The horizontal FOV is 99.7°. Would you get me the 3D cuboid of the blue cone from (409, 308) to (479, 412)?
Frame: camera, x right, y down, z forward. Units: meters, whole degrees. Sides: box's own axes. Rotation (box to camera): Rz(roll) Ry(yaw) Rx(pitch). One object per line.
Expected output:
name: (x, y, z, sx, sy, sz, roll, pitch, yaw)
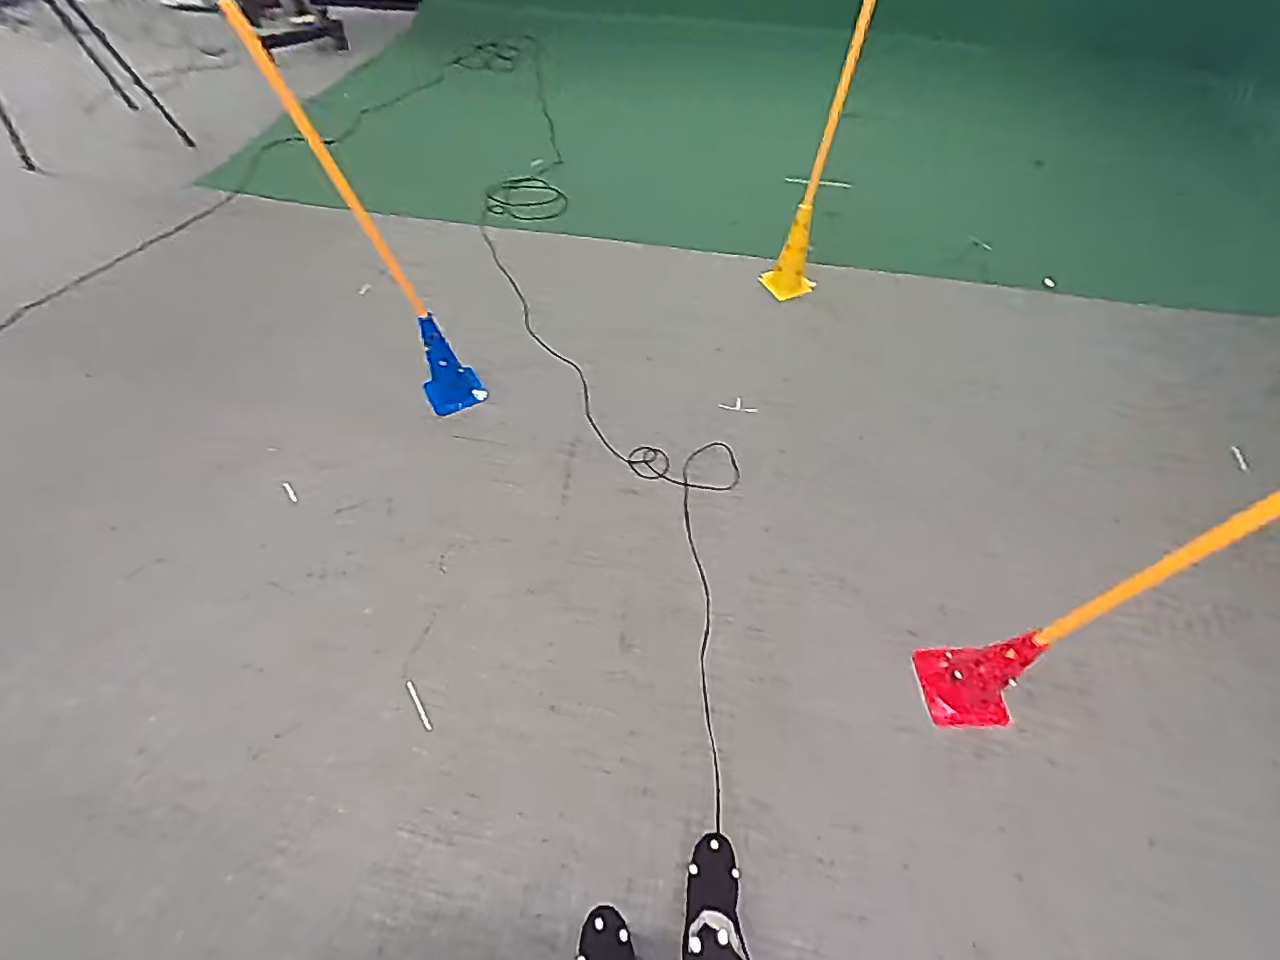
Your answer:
blue cone: (-0.717, -0.432, 1.881, 0.193, 0.380, 0.192, -29, 61, -17)
